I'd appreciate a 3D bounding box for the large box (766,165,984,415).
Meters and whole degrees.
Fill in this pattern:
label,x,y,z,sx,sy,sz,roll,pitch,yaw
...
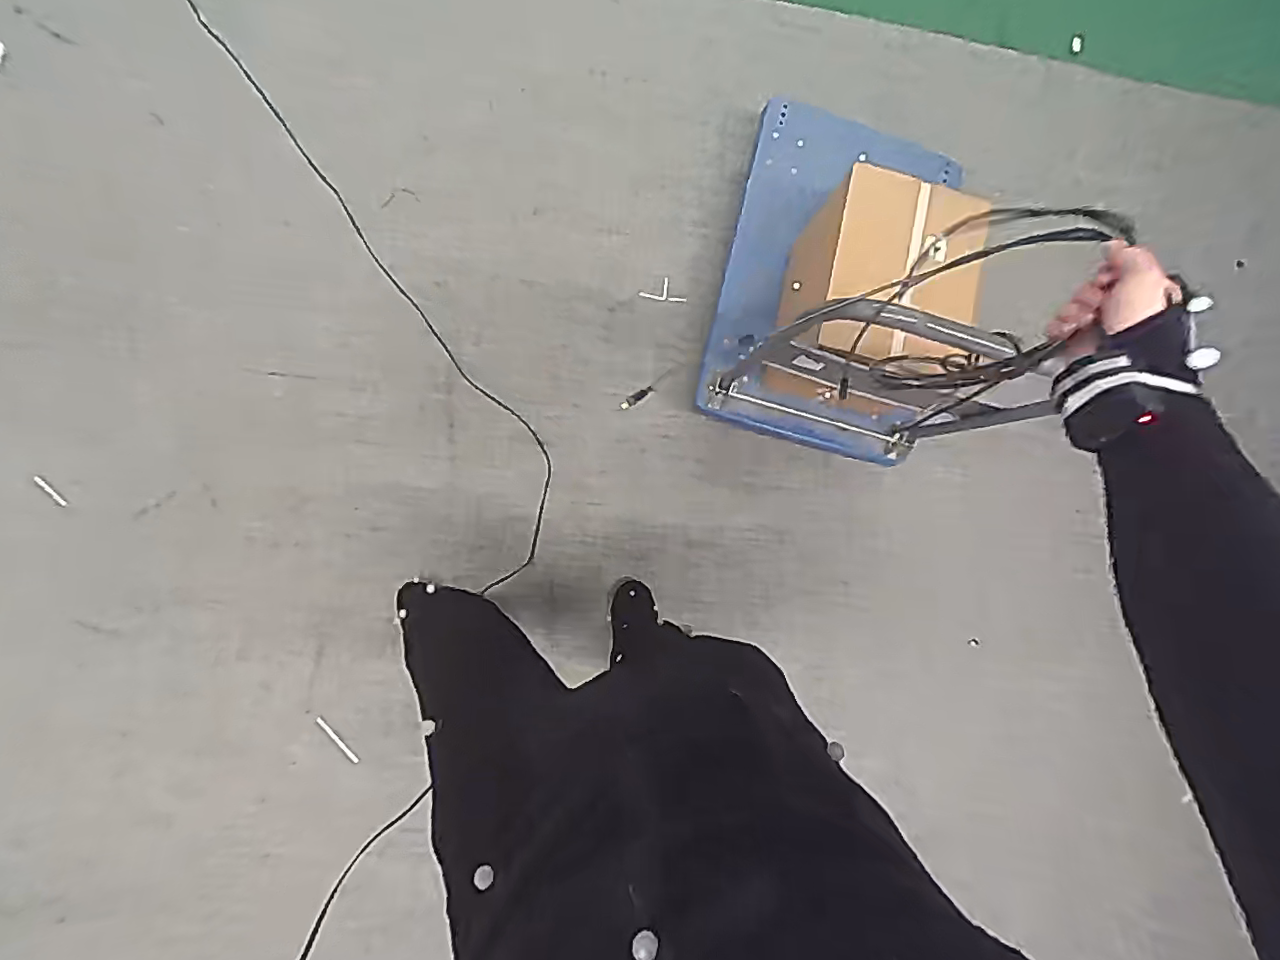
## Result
label,x,y,z,sx,sy,sz,roll,pitch,yaw
large box,0.512,-0.399,1.233,0.320,0.320,0.408,14,83,-6
